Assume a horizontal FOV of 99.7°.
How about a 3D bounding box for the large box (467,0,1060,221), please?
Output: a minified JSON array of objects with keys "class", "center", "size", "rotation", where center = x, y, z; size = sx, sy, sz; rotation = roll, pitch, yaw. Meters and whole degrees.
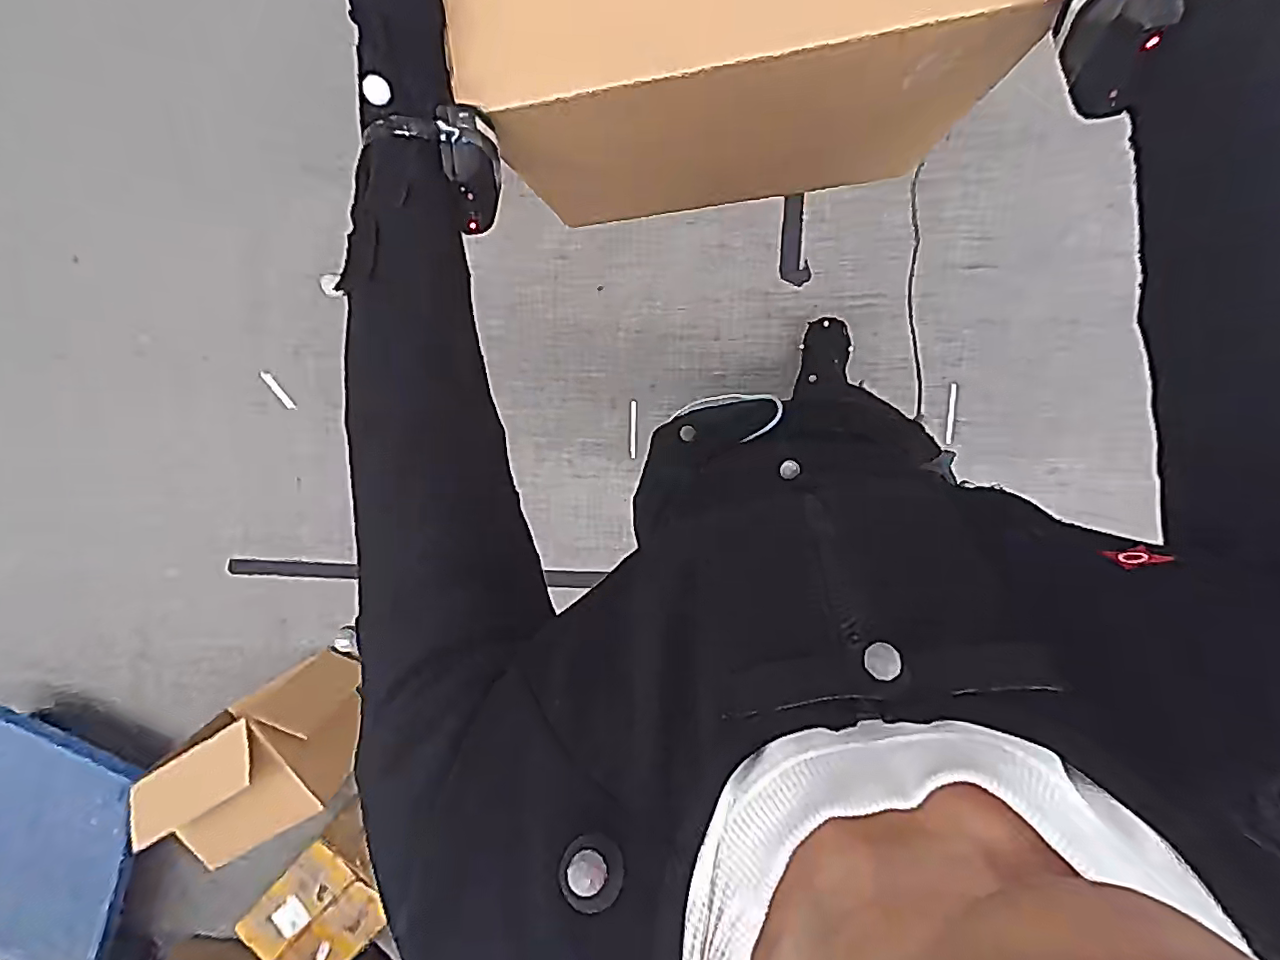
[{"class":"large box","center":[0.078,-0.461,0.478],"size":[0.408,0.320,0.320],"rotation":[-5,101,7]}]
